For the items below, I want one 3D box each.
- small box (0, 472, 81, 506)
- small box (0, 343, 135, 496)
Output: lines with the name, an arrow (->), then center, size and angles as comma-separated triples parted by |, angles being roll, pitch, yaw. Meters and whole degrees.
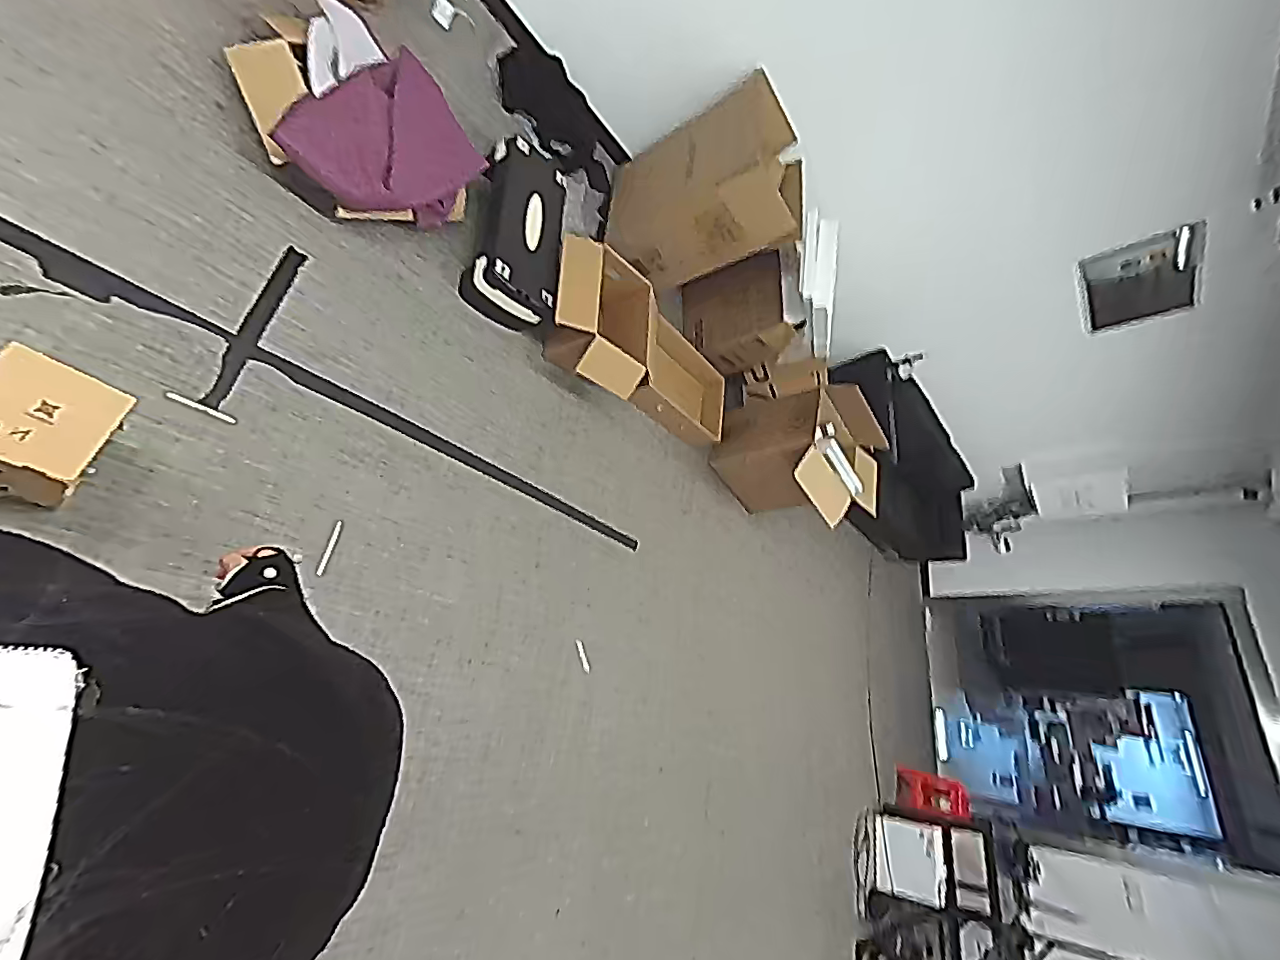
small box -> -1.142, -0.062, 1.006 | 0.168, 0.176, 0.179 | 32, 57, -42
small box -> -1.013, -0.092, 0.906 | 0.168, 0.176, 0.179 | 38, 53, -39
